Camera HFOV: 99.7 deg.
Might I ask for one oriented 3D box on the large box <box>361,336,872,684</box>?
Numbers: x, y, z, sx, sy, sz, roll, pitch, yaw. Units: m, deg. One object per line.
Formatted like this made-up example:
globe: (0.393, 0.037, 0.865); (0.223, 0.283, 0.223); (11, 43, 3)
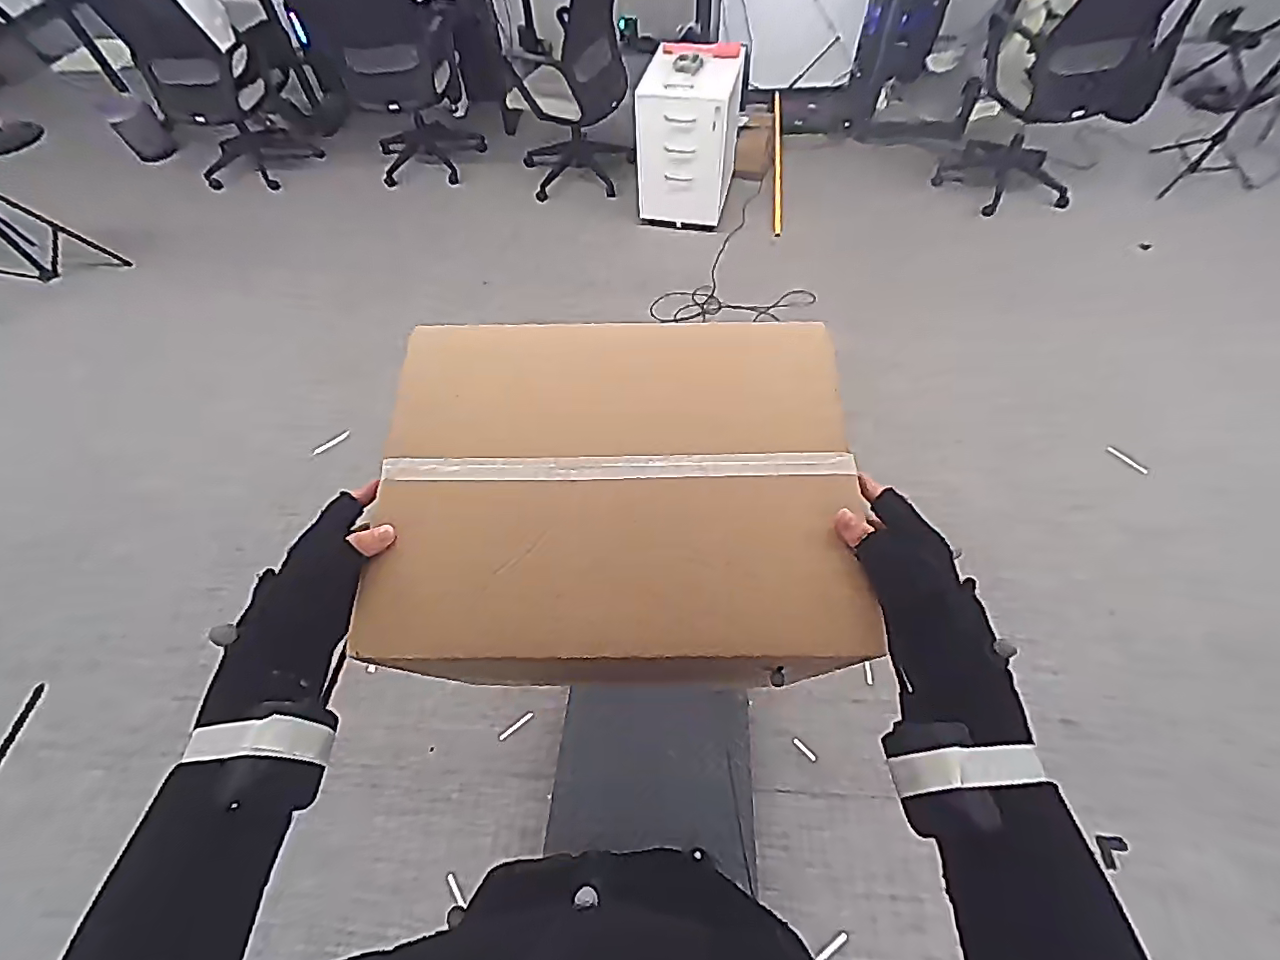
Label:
large box: (-0.018, 0.059, 0.610); (0.408, 0.320, 0.320); (0, 65, 0)
